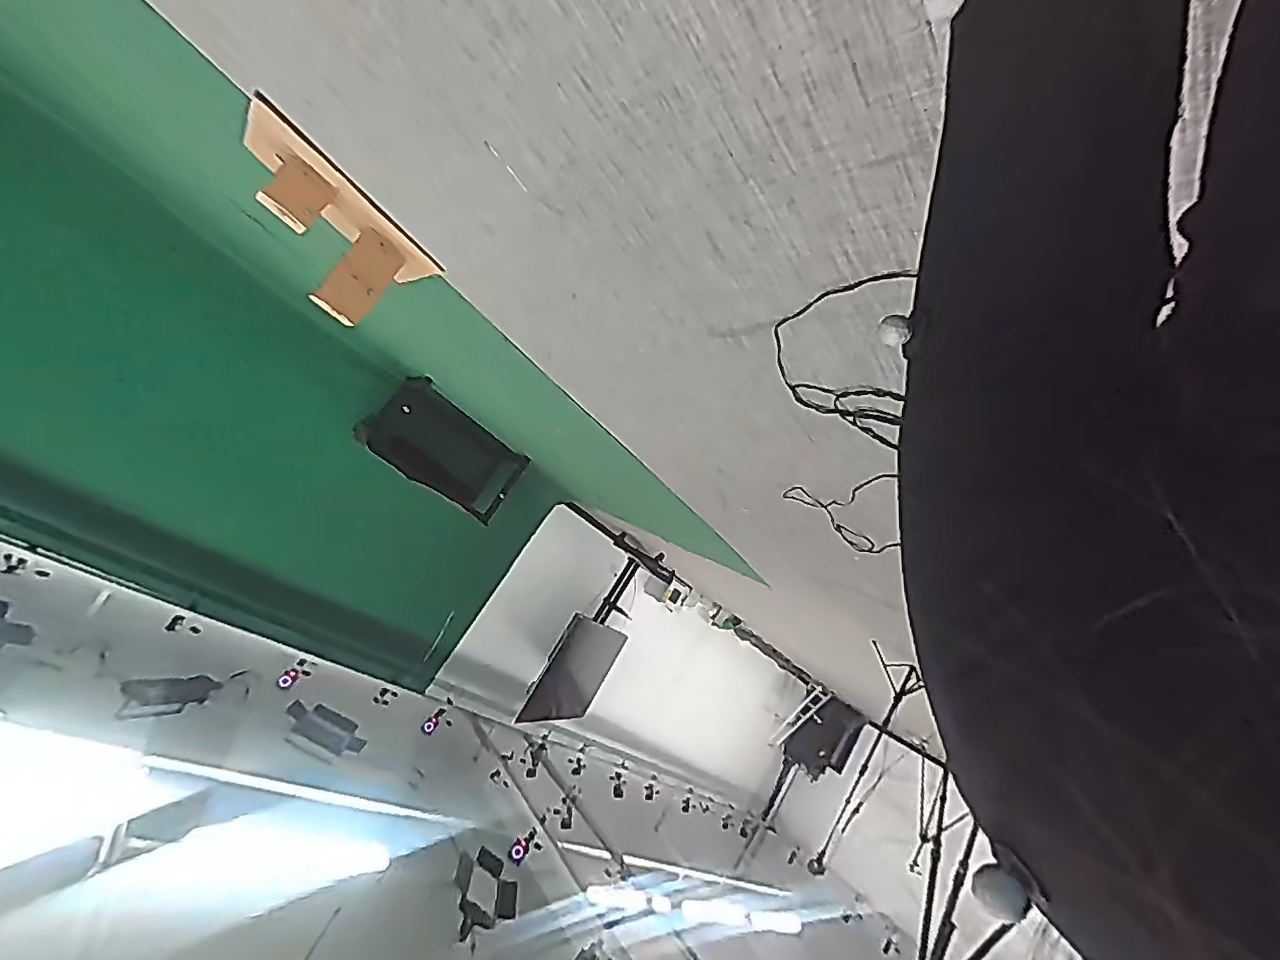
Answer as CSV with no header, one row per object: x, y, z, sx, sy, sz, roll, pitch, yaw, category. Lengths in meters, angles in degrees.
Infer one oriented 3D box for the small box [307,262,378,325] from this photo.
-1.144,-0.722,2.088,0.179,0.176,0.168,21,164,49,small box

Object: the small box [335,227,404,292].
-1.057,-0.858,2.118,0.168,0.176,0.179,40,166,-37,small box
